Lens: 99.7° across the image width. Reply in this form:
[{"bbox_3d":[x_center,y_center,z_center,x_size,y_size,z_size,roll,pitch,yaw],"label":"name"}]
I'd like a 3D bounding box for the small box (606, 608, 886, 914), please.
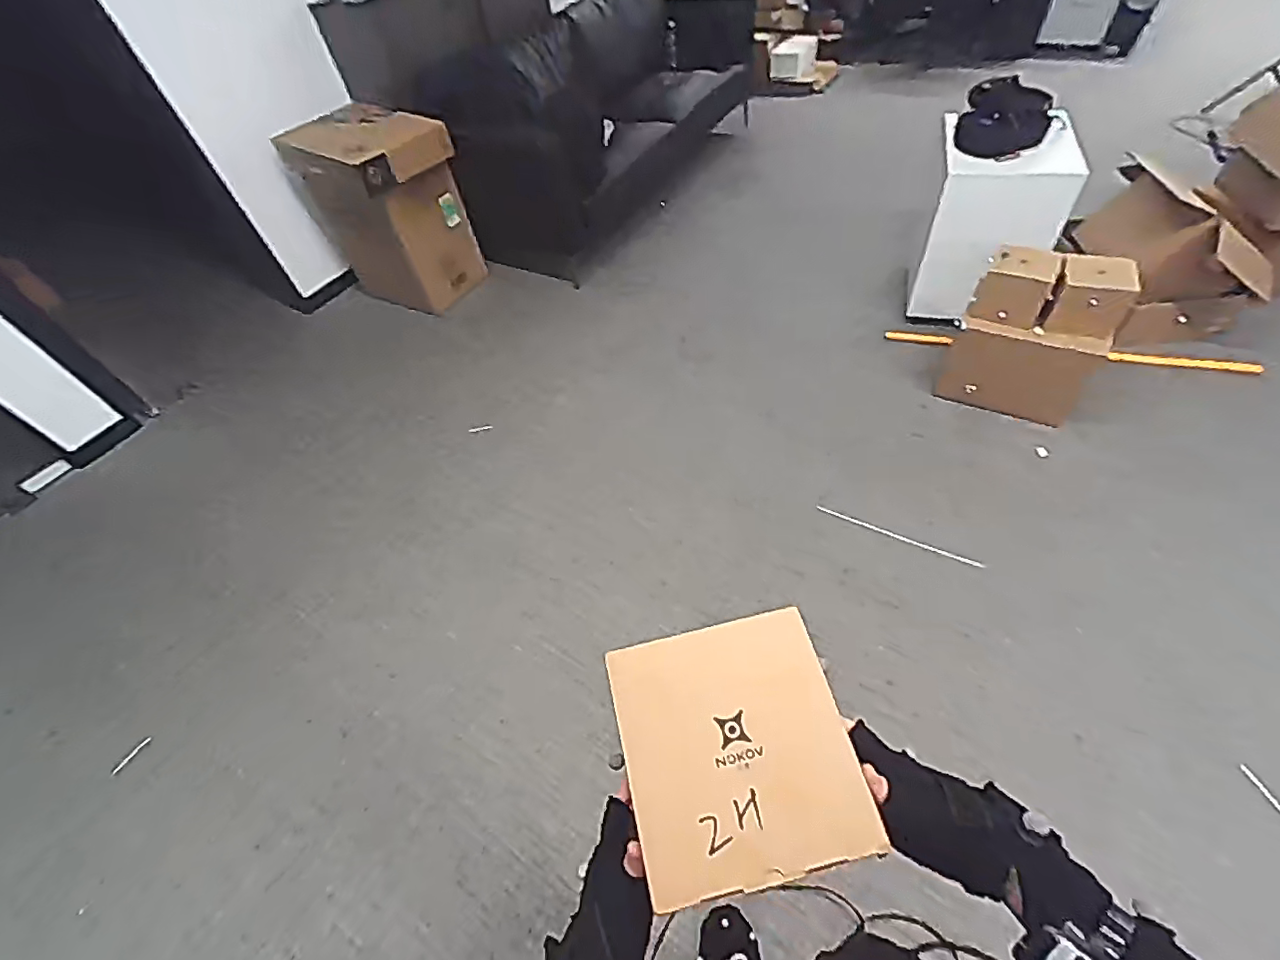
[{"bbox_3d":[0.071,0.233,0.462,0.168,0.176,0.179,-12,59,-3],"label":"small box"}]
